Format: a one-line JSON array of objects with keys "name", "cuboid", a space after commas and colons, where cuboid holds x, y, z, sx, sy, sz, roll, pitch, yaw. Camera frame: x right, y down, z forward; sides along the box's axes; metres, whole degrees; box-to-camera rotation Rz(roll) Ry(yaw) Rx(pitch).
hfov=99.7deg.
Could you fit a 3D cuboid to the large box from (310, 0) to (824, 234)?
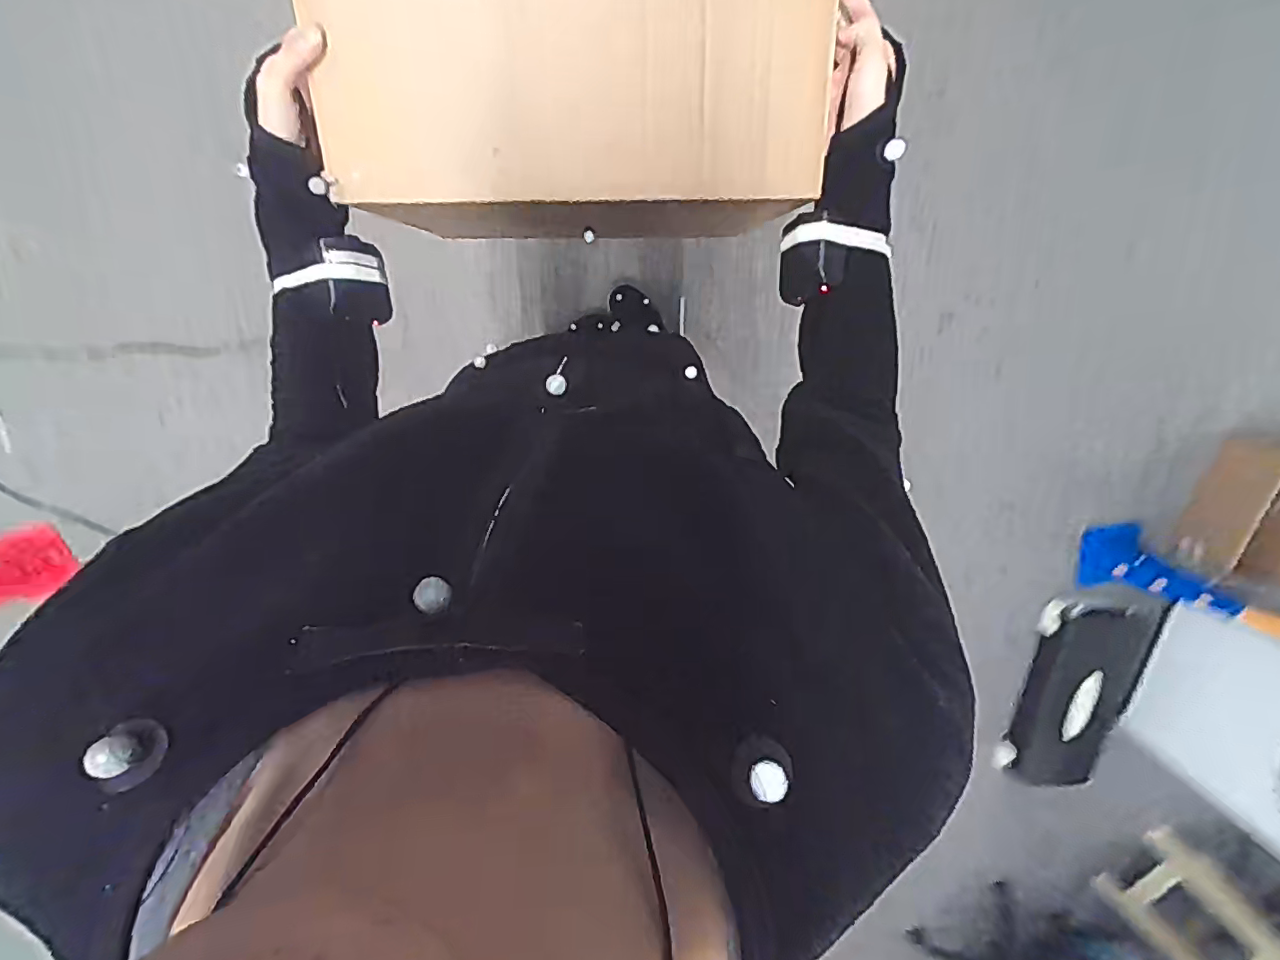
[{"name": "large box", "cuboid": [-0.058, -0.436, 0.550, 0.408, 0.320, 0.320, -3, 109, -2]}]
